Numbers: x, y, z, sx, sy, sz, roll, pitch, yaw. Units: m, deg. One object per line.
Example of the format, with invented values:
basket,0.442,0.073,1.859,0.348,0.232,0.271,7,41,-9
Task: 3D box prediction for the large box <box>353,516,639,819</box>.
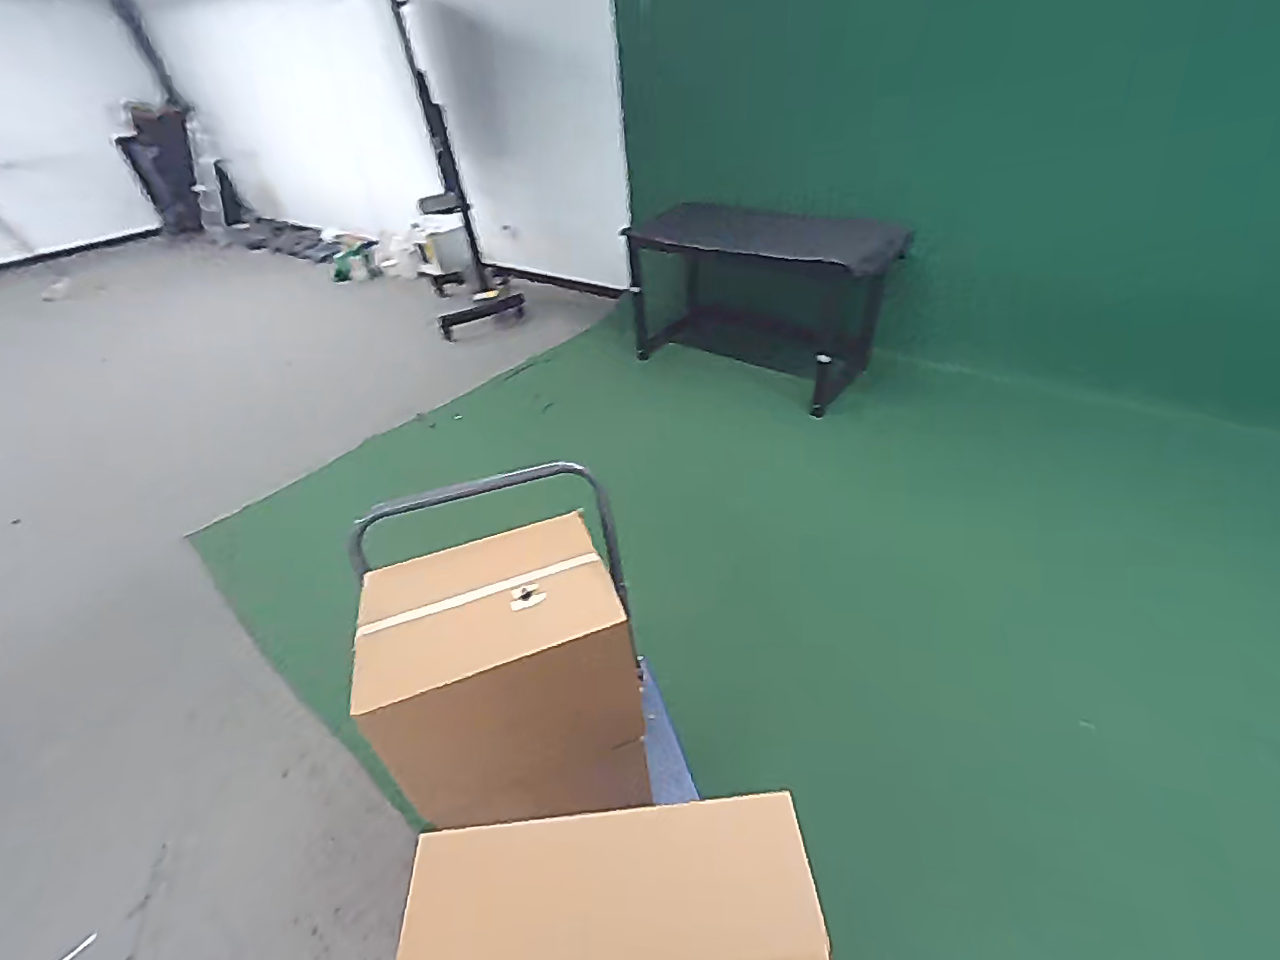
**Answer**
large box,-0.248,0.319,0.983,0.408,0.320,0.320,-15,34,-14
